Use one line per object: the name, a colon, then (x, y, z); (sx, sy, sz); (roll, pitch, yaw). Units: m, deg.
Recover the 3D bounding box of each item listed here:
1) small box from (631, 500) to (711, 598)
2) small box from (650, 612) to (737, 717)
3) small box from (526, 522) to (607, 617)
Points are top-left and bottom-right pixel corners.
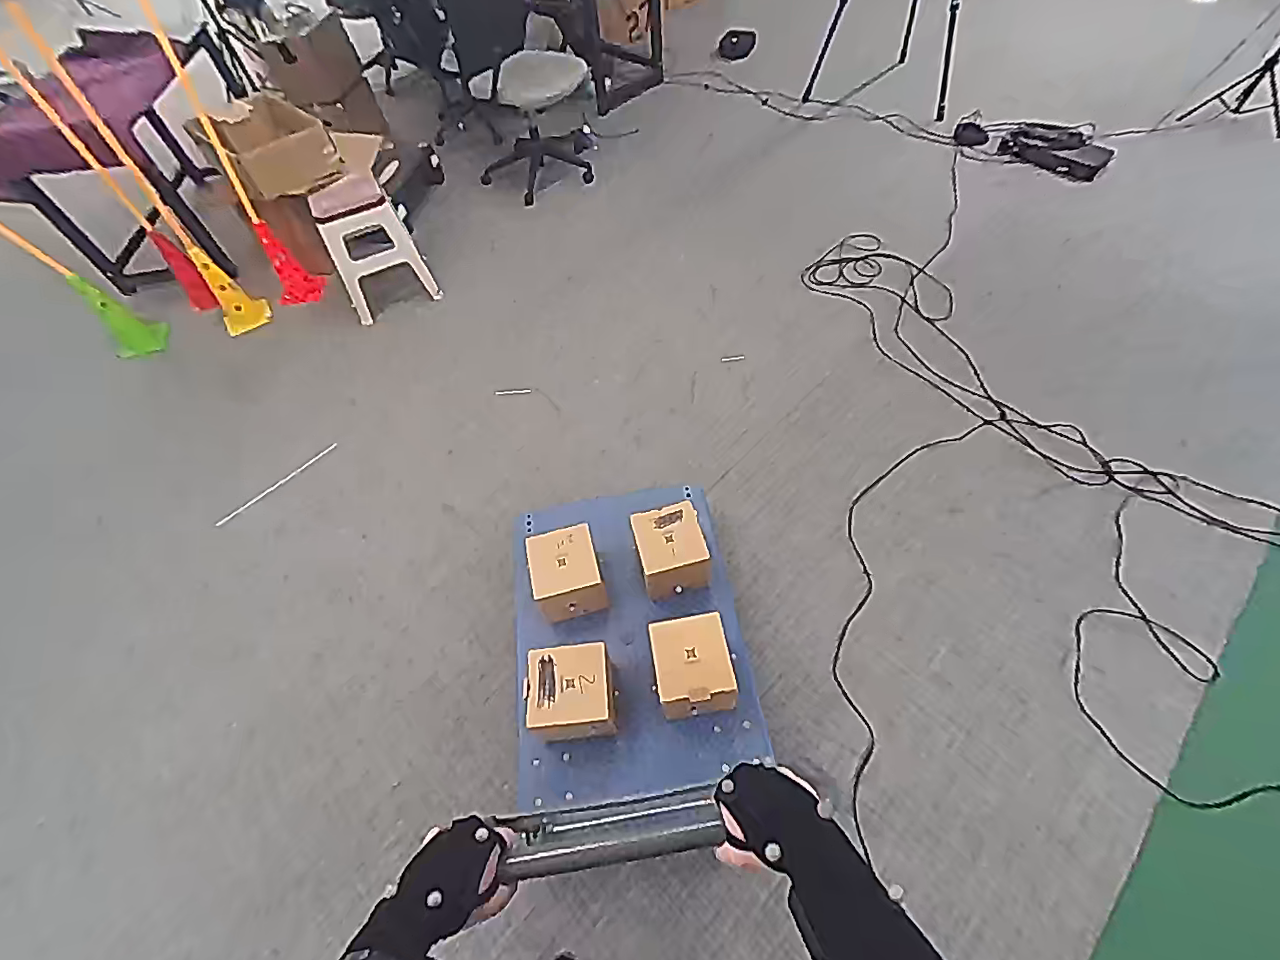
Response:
small box: (0.079, 0.183, 1.409); (0.168, 0.176, 0.179); (-14, 57, -4)
small box: (0.117, 0.426, 1.242); (0.168, 0.176, 0.179); (-10, 56, -1)
small box: (-0.186, 0.238, 1.395); (0.168, 0.176, 0.179); (-13, 56, -5)
